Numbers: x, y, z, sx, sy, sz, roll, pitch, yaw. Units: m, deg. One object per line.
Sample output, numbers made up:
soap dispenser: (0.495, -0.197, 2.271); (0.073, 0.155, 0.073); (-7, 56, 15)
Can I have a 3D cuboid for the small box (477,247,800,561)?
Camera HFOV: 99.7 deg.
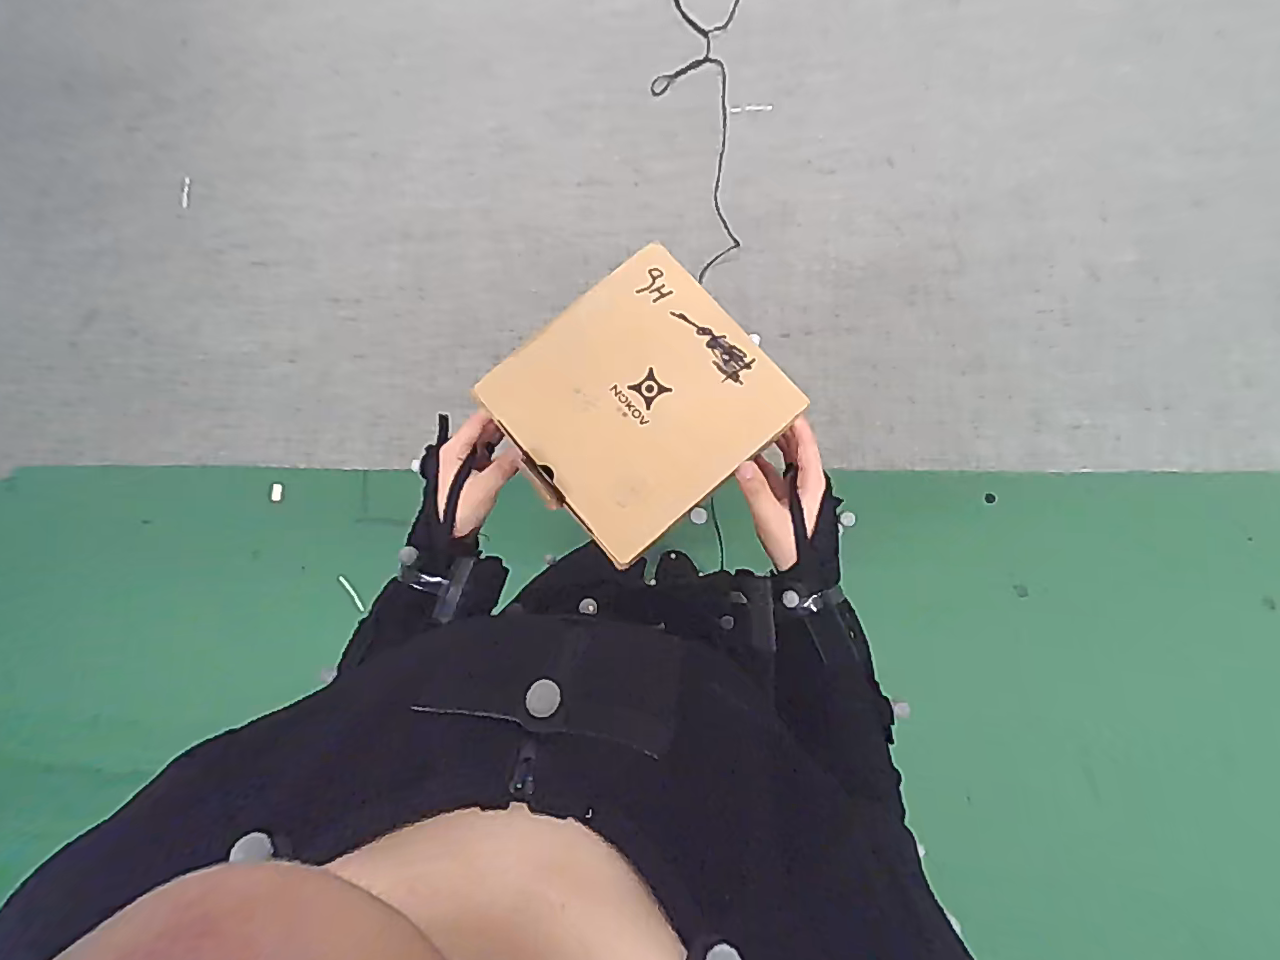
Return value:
small box: (0.001, -0.046, 0.461); (0.179, 0.176, 0.168); (-41, 83, -4)
